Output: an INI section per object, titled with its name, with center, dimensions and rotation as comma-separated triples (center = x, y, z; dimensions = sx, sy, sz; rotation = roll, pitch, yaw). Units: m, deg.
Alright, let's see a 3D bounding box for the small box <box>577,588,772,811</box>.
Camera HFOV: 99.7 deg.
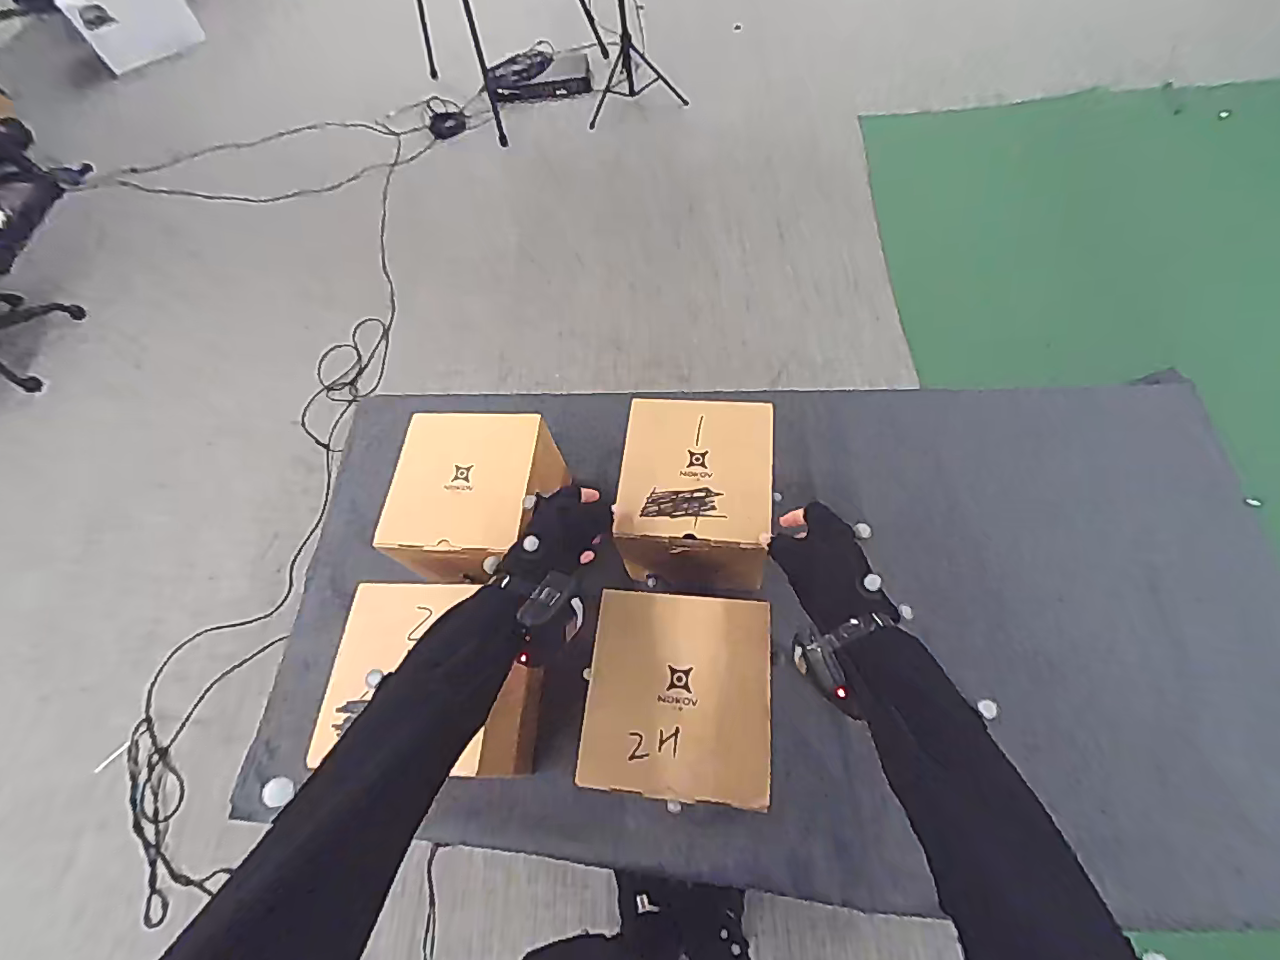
[small box]
center = 0.043, 0.226, 0.561
dimensions = 0.168, 0.176, 0.179
rotation = 3, 63, 8
